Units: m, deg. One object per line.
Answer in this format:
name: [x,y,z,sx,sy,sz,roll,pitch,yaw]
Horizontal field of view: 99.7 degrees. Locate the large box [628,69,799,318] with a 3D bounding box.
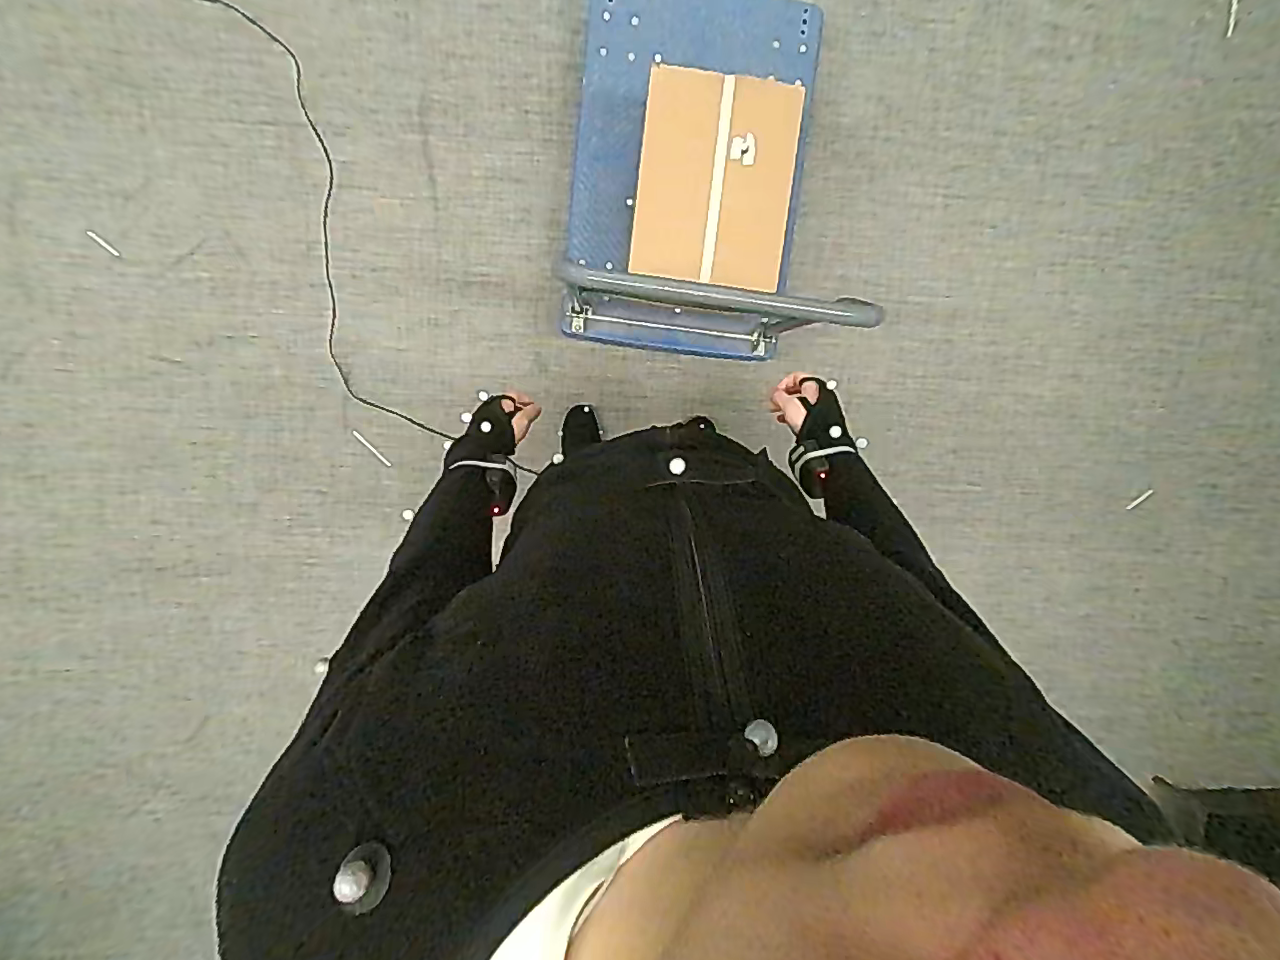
large box: [0.142,-0.614,1.238,0.320,0.320,0.408,6,96,-5]
